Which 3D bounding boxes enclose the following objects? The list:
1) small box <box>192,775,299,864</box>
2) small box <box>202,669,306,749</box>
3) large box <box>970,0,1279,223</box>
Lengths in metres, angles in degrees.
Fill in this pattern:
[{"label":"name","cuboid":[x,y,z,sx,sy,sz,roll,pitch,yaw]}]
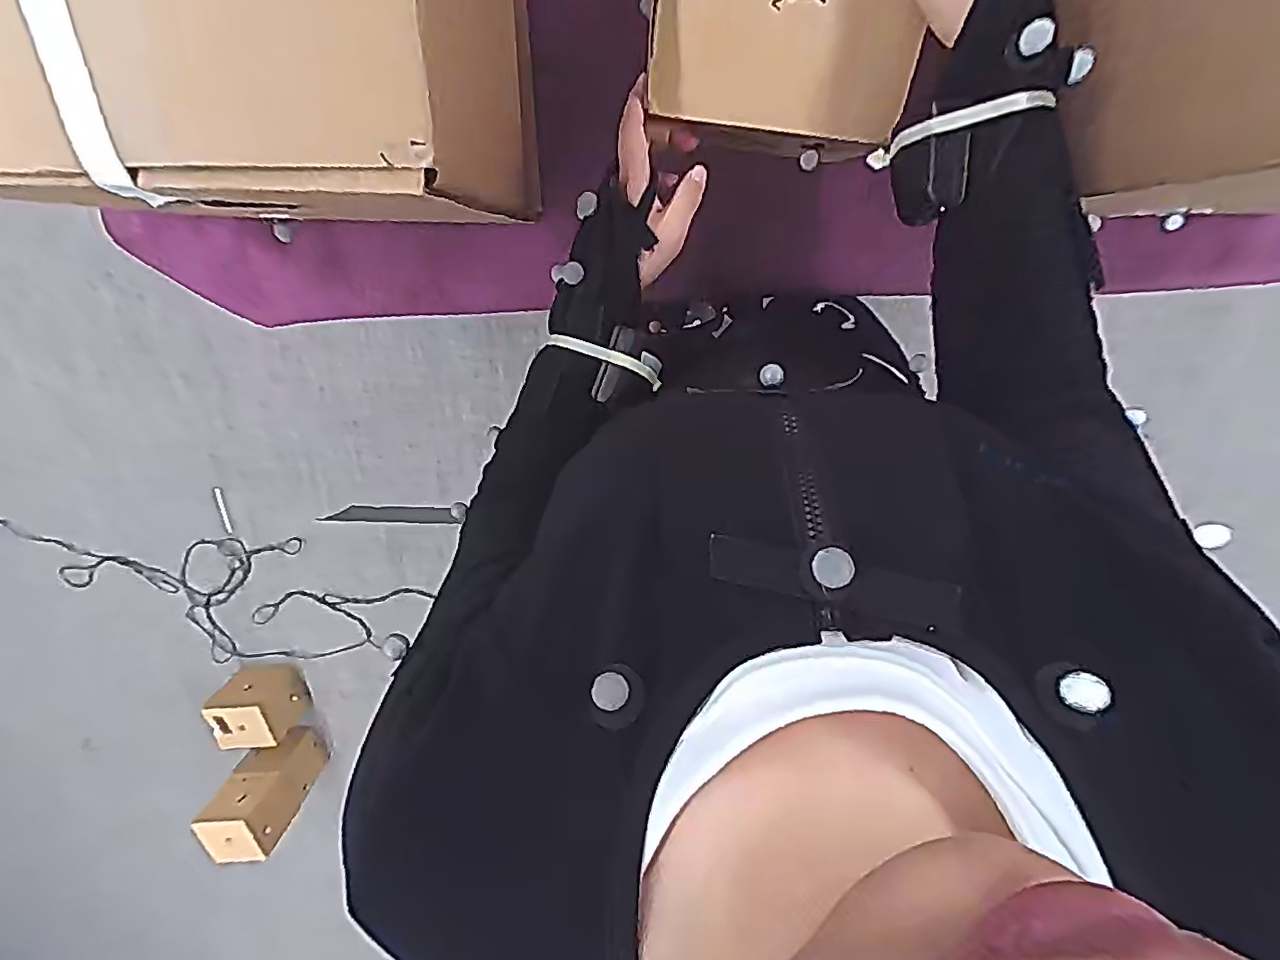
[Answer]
[{"label":"small box","cuboid":[-1.183,1.019,1.635,0.168,0.176,0.179,-6,113,5]},{"label":"small box","cuboid":[-1.187,0.707,1.678,0.179,0.176,0.168,-3,114,3]},{"label":"large box","cuboid":[0.451,-0.380,0.305,0.320,0.320,0.408,0,111,1]}]
